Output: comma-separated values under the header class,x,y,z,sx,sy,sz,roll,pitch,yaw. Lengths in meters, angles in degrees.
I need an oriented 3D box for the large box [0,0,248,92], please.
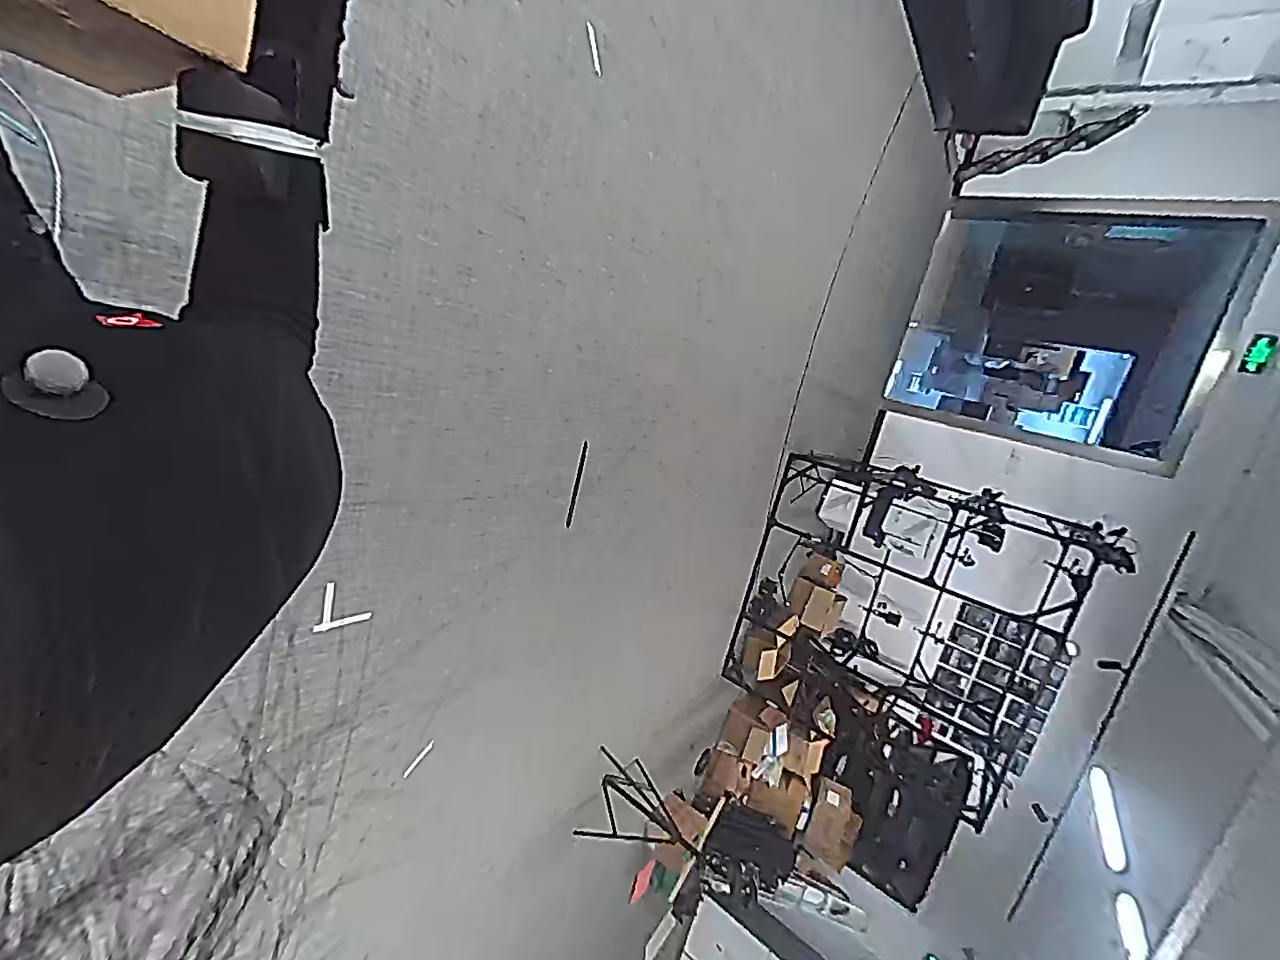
class,x,y,z,sx,sy,sz,roll,pitch,yaw
large box,-0.445,-0.444,0.228,0.408,0.320,0.320,-1,111,-56
